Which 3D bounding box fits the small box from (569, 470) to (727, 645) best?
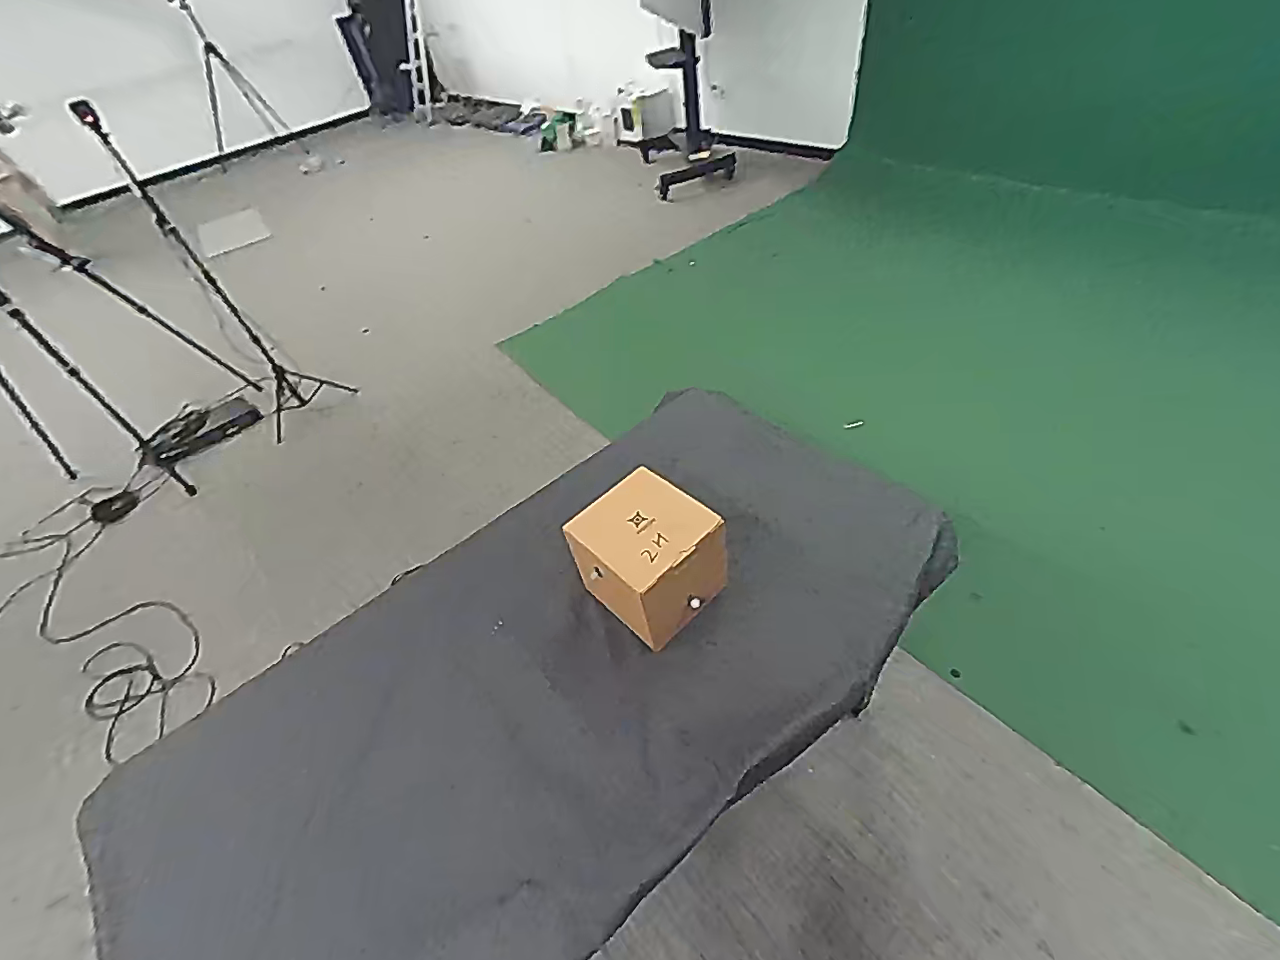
[{"bbox_3d":[0.018,0.121,0.843,0.168,0.176,0.179,-38,51,-22],"label":"small box"}]
